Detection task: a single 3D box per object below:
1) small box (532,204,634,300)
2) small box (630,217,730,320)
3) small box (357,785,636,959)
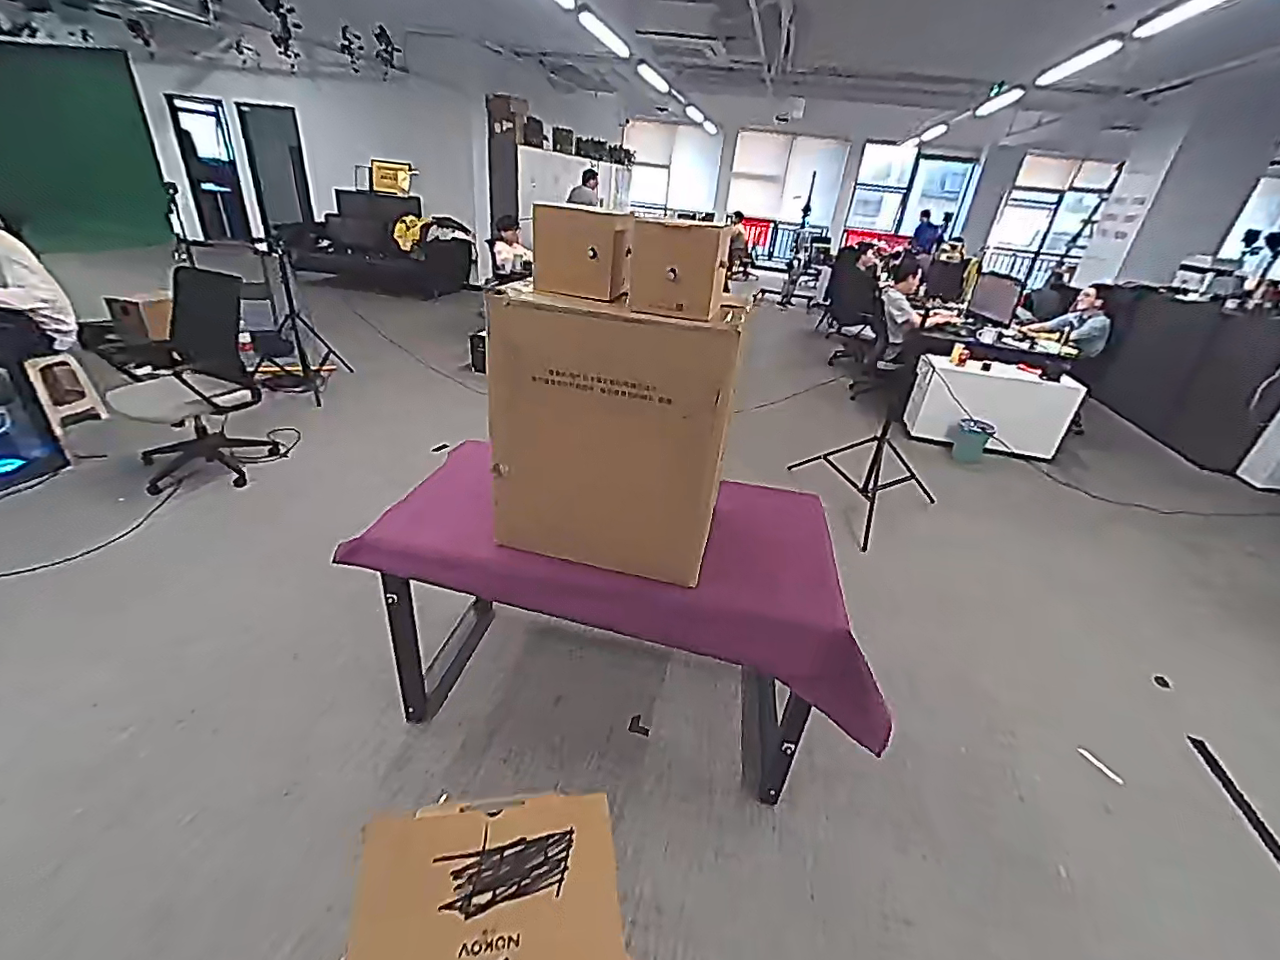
[{"bbox_3d":[-0.121,-0.492,1.166,0.179,0.176,0.168,11,28,9],"label":"small box"},{"bbox_3d":[0.080,-0.427,1.086,0.168,0.176,0.179,11,29,10],"label":"small box"},{"bbox_3d":[-0.101,0.343,0.375,0.168,0.176,0.179,2,42,-16],"label":"small box"}]
